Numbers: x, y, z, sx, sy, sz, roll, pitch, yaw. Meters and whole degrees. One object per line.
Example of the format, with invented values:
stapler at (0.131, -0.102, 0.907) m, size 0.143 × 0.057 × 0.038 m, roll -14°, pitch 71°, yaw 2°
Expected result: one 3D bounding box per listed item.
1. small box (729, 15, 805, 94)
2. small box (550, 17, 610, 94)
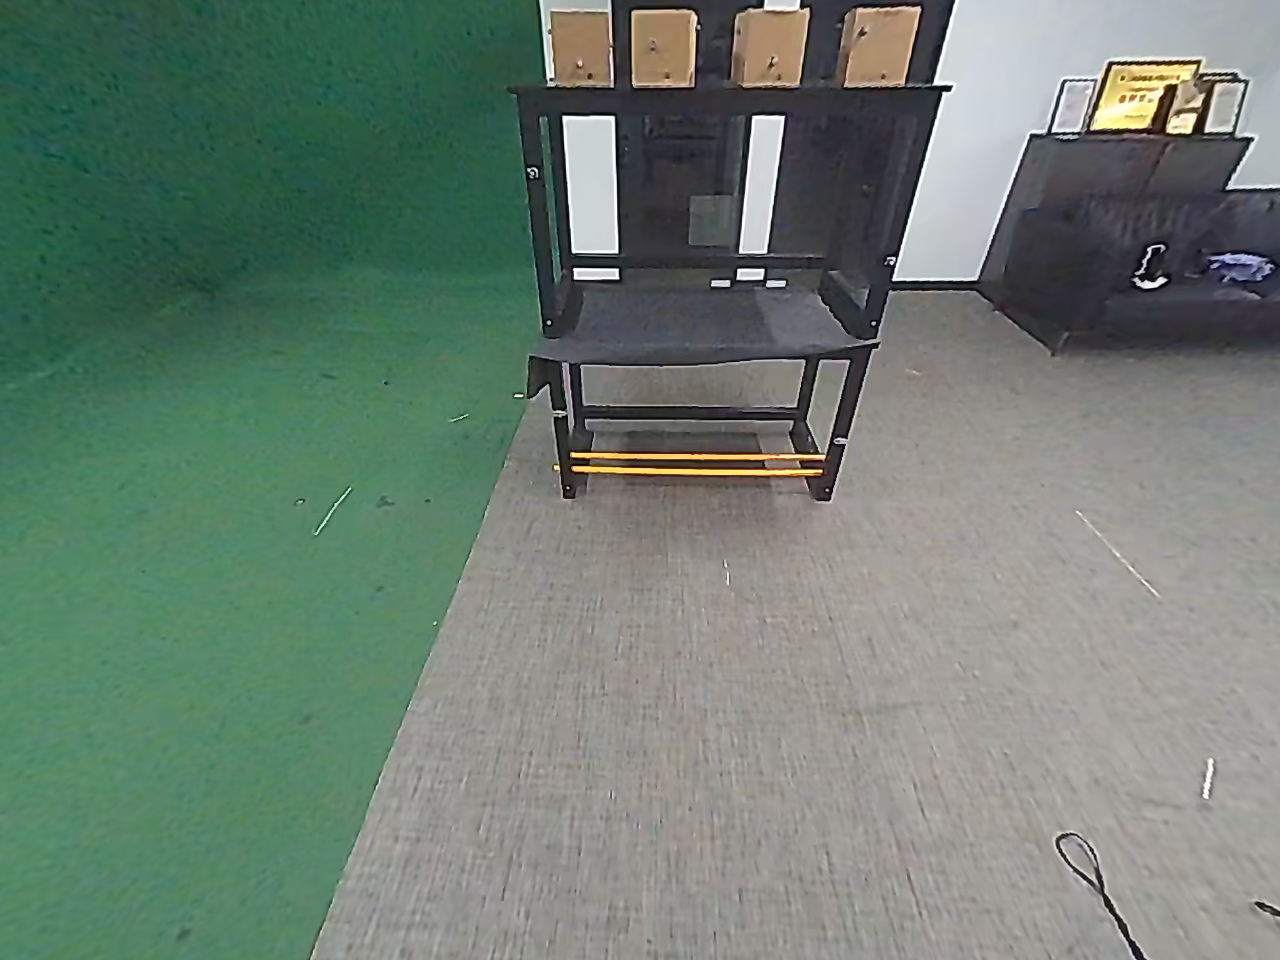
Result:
small box at (0.360, -1.231, 1.570) m, size 0.168 × 0.176 × 0.179 m, roll -3°, pitch 37°, yaw -3°
small box at (-0.176, -1.256, 1.604) m, size 0.168 × 0.176 × 0.179 m, roll -3°, pitch 38°, yaw -4°
